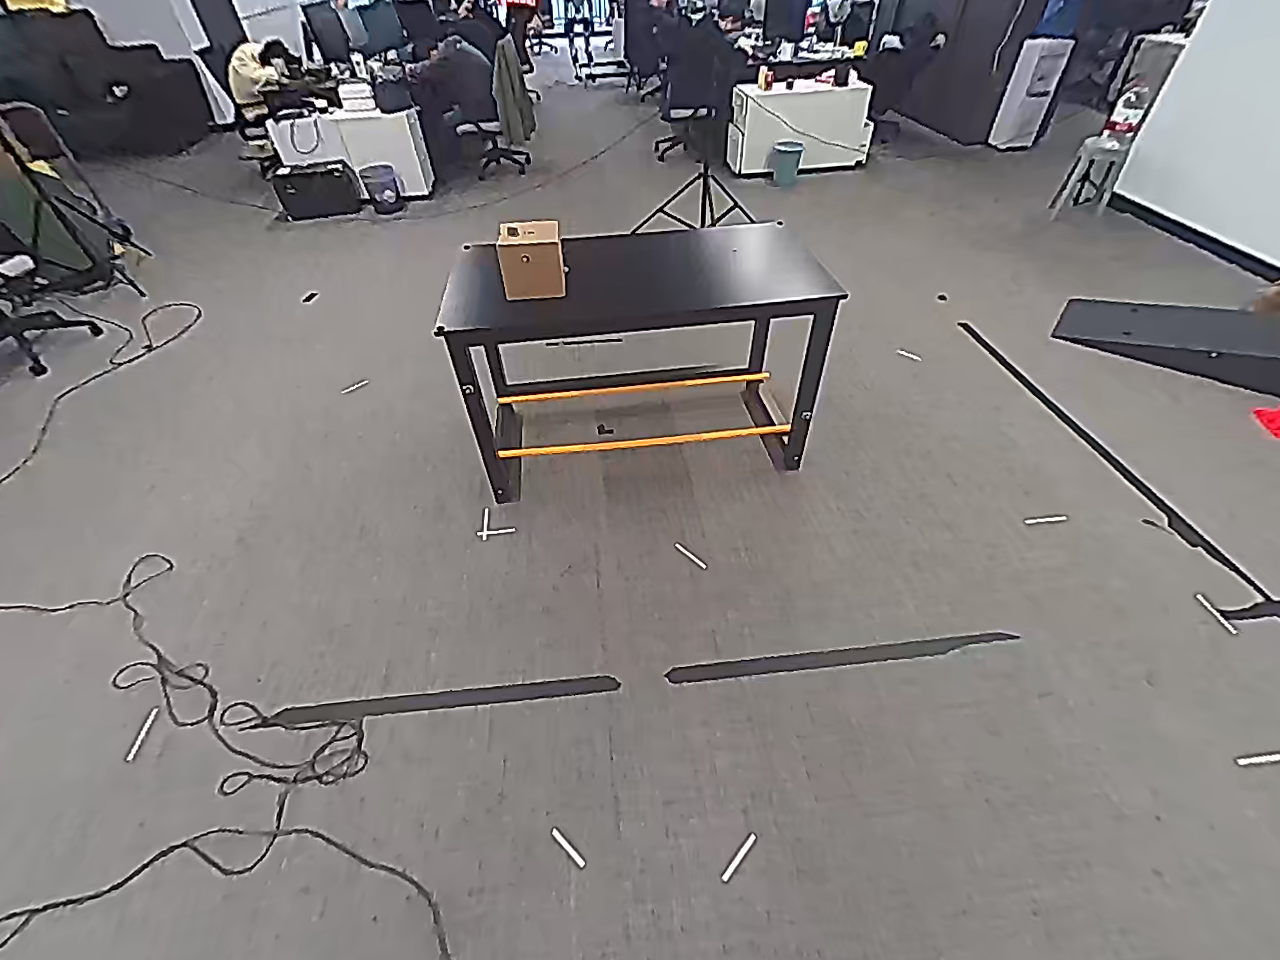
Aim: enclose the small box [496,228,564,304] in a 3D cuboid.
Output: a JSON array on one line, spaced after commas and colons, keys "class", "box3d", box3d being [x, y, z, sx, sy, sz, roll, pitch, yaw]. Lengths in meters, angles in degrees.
[{"class": "small box", "box3d": [-0.330, -0.651, 1.654, 0.179, 0.176, 0.168, -5, 45, -4]}]
